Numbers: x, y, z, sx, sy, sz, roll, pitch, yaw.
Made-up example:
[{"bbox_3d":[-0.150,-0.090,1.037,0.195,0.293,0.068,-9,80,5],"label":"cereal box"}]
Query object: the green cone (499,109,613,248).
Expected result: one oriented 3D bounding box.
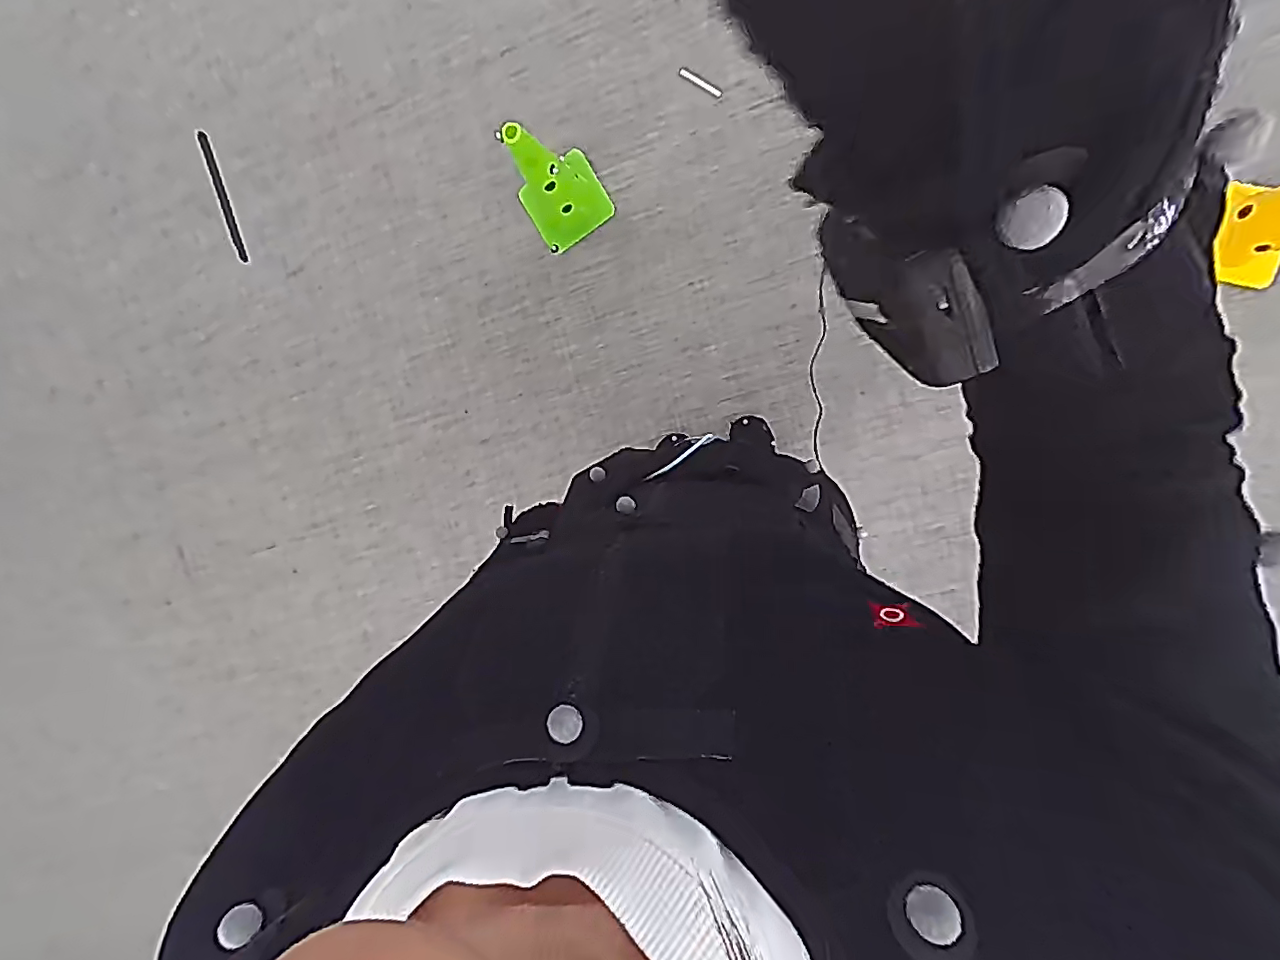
[{"bbox_3d":[-0.221,-0.716,1.230,0.200,0.368,0.202,-31,89,11],"label":"green cone"}]
